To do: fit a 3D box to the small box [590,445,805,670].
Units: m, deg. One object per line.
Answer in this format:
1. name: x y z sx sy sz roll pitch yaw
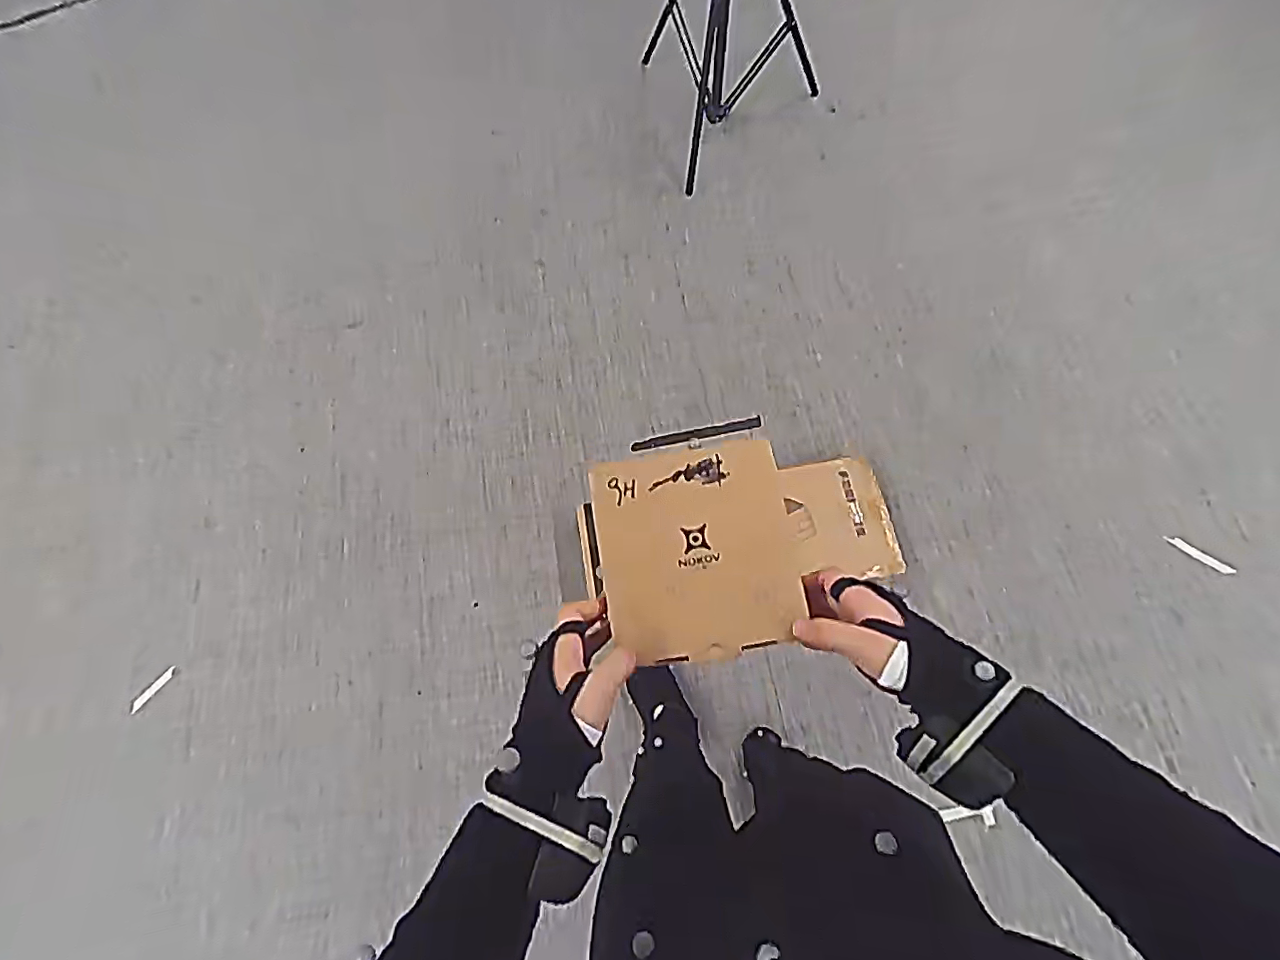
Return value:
1. small box: 0.050 0.077 0.542 0.168 0.176 0.179 -9 80 0
